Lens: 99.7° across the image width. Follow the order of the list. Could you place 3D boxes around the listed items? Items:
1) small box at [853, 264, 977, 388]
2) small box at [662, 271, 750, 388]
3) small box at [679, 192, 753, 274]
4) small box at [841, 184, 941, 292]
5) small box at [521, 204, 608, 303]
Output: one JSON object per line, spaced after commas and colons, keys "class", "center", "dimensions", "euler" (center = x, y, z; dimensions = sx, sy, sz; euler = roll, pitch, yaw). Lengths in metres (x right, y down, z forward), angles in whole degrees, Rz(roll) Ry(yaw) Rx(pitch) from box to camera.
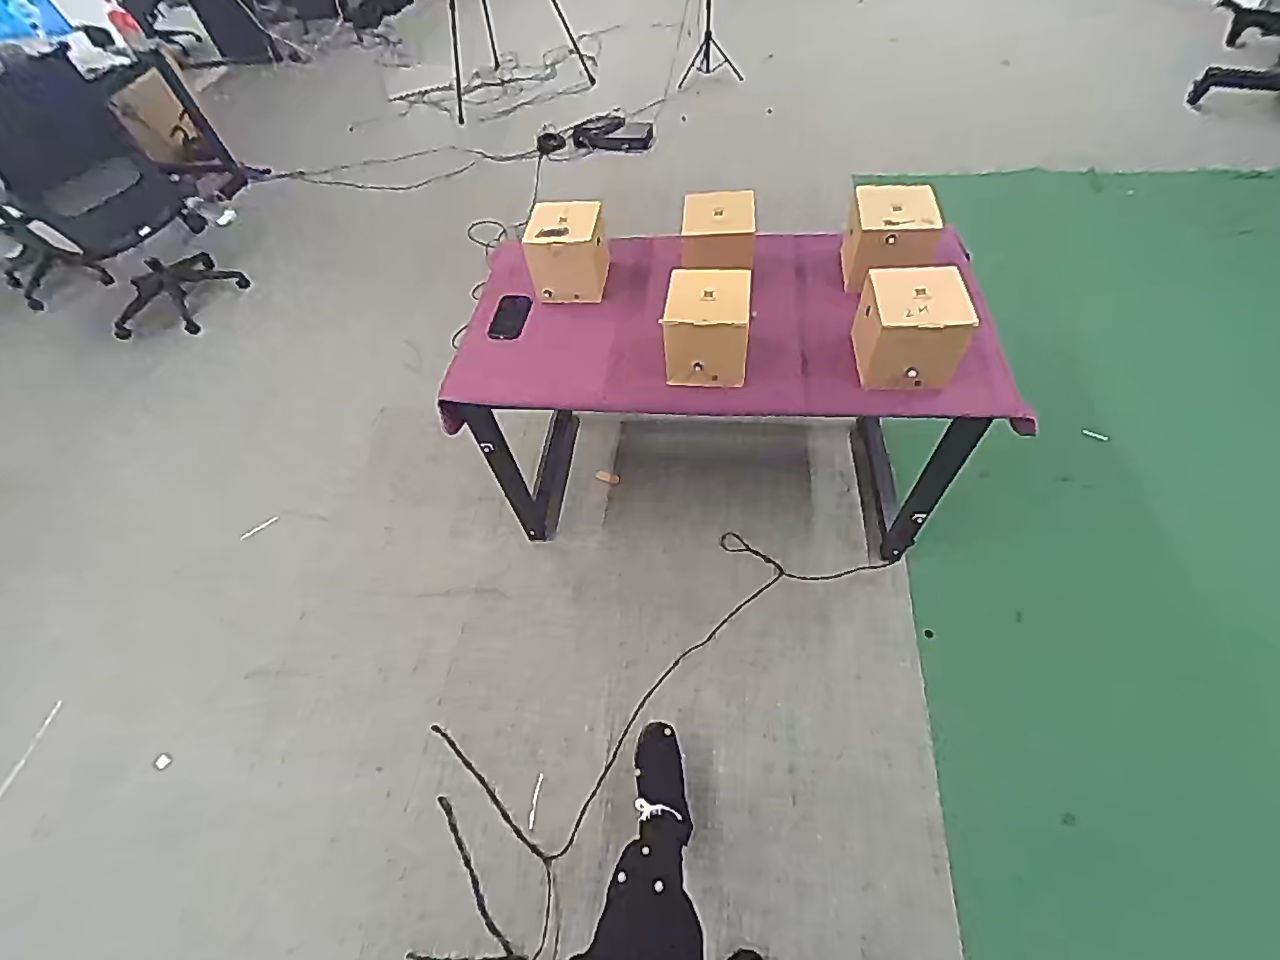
{"class": "small box", "center": [0.533, -0.303, 1.077], "dimensions": [0.168, 0.176, 0.179], "euler": [0, 56, 9]}
{"class": "small box", "center": [0.141, -0.317, 1.140], "dimensions": [0.168, 0.176, 0.179], "euler": [3, 55, 9]}
{"class": "small box", "center": [0.185, -0.569, 1.310], "dimensions": [0.168, 0.176, 0.179], "euler": [1, 57, 9]}
{"class": "small box", "center": [0.569, -0.557, 1.251], "dimensions": [0.168, 0.176, 0.179], "euler": [2, 56, 10]}
{"class": "small box", "center": [-0.179, -0.557, 1.345], "dimensions": [0.168, 0.176, 0.179], "euler": [2, 55, 8]}
